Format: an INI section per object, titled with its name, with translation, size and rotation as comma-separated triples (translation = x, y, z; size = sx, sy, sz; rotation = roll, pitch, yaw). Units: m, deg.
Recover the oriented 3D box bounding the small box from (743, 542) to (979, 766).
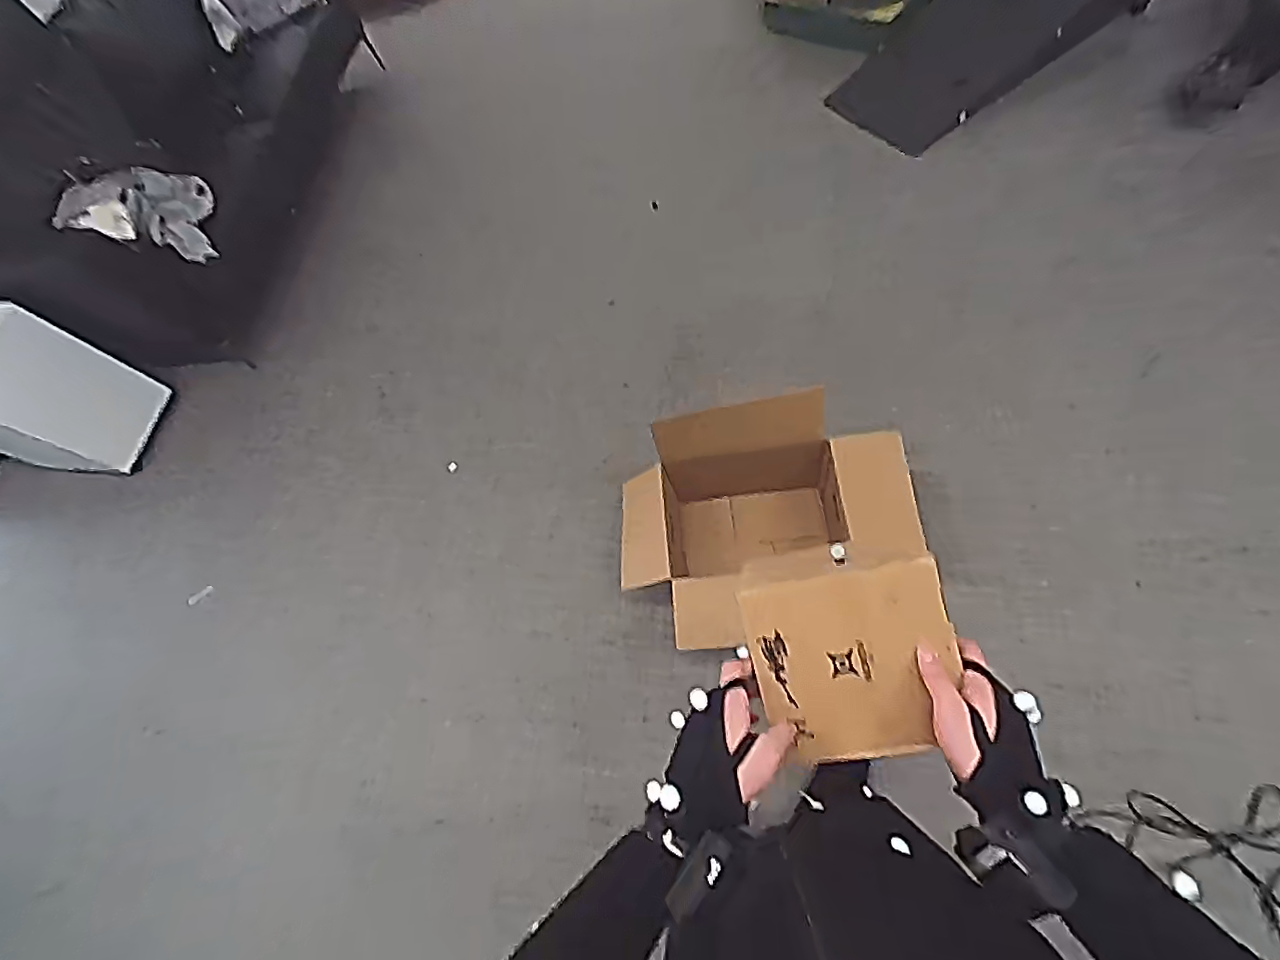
[small box]
translation = 0.212, 0.167, 0.565
size = 0.179, 0.176, 0.168
rotation = -13, 87, 13
